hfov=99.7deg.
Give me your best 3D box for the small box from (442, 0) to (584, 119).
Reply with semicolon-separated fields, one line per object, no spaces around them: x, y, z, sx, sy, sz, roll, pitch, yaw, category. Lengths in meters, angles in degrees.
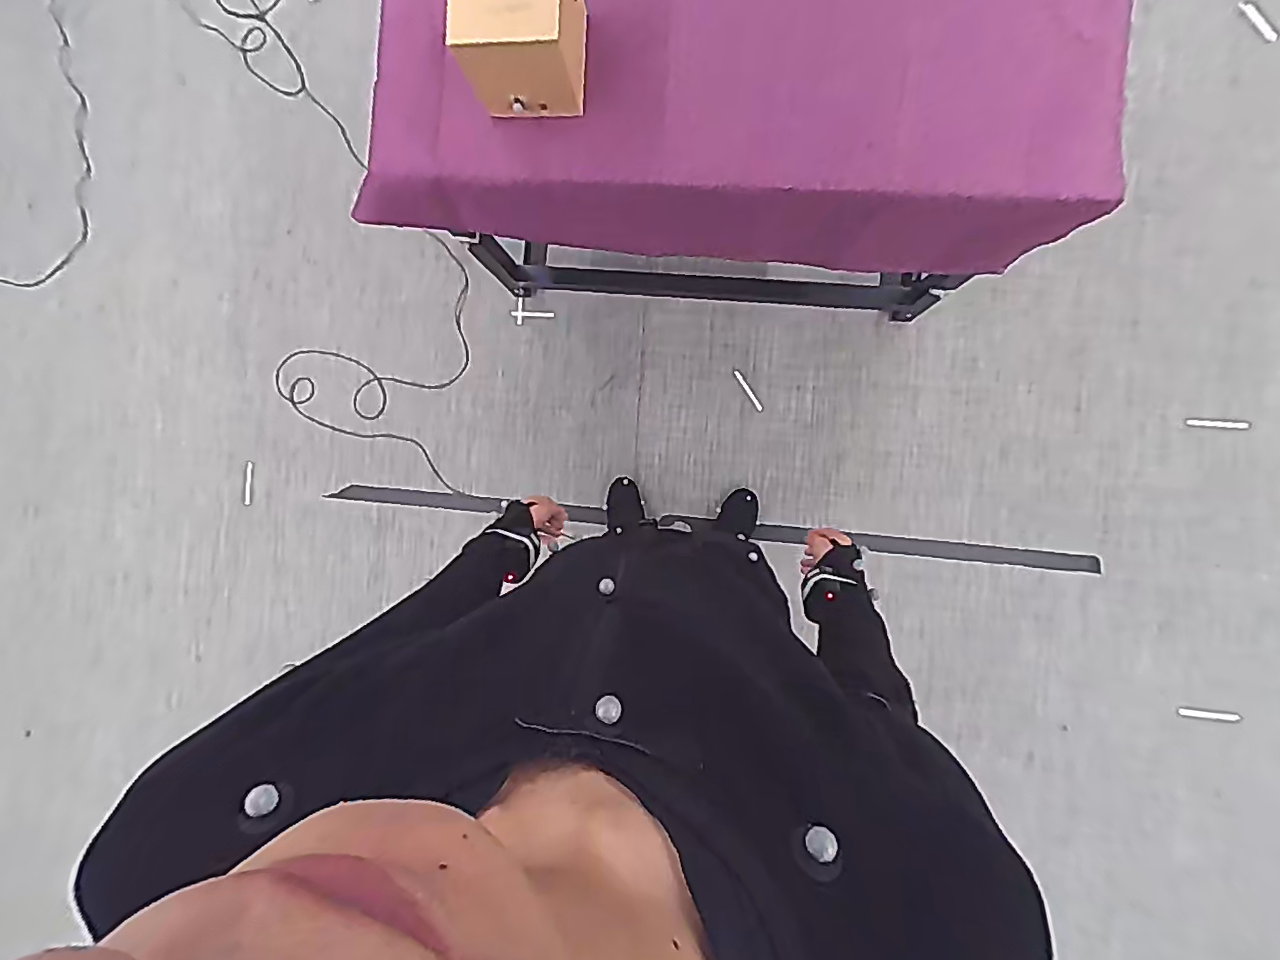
-0.184;-0.695;0.827;0.168;0.176;0.179;3;91;6;small box
